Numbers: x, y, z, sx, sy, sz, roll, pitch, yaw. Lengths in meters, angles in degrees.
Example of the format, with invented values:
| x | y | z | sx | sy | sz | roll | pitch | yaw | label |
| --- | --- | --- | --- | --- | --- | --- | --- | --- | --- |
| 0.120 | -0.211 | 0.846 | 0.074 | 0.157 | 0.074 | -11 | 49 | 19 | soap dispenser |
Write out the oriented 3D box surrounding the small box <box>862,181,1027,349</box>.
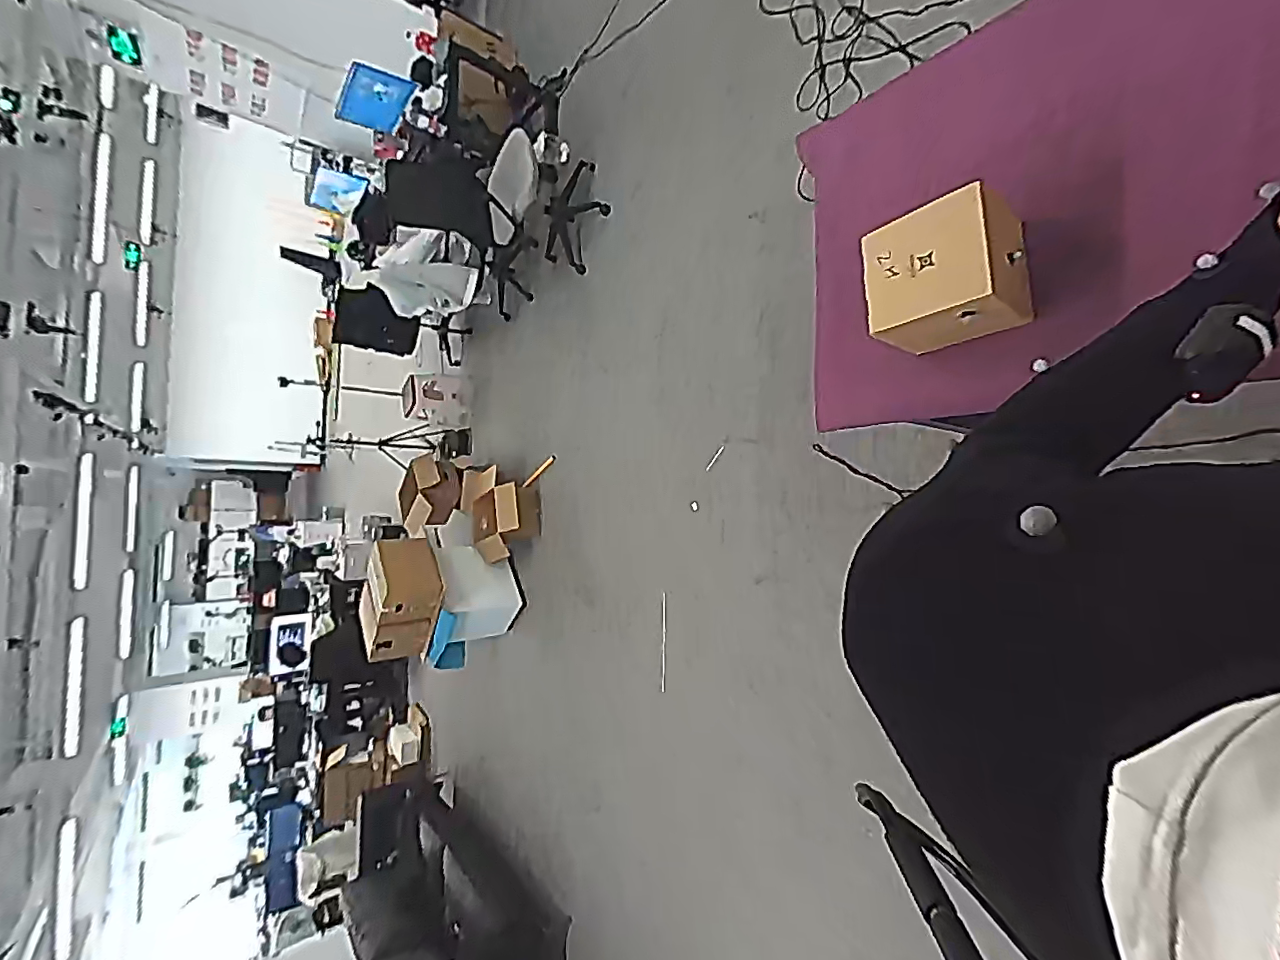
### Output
| x | y | z | sx | sy | sz | roll | pitch | yaw | label |
| --- | --- | --- | --- | --- | --- | --- | --- | --- | --- |
| 0.476 | -0.318 | 0.841 | 0.179 | 0.176 | 0.168 | -10 | 80 | 52 | small box |
